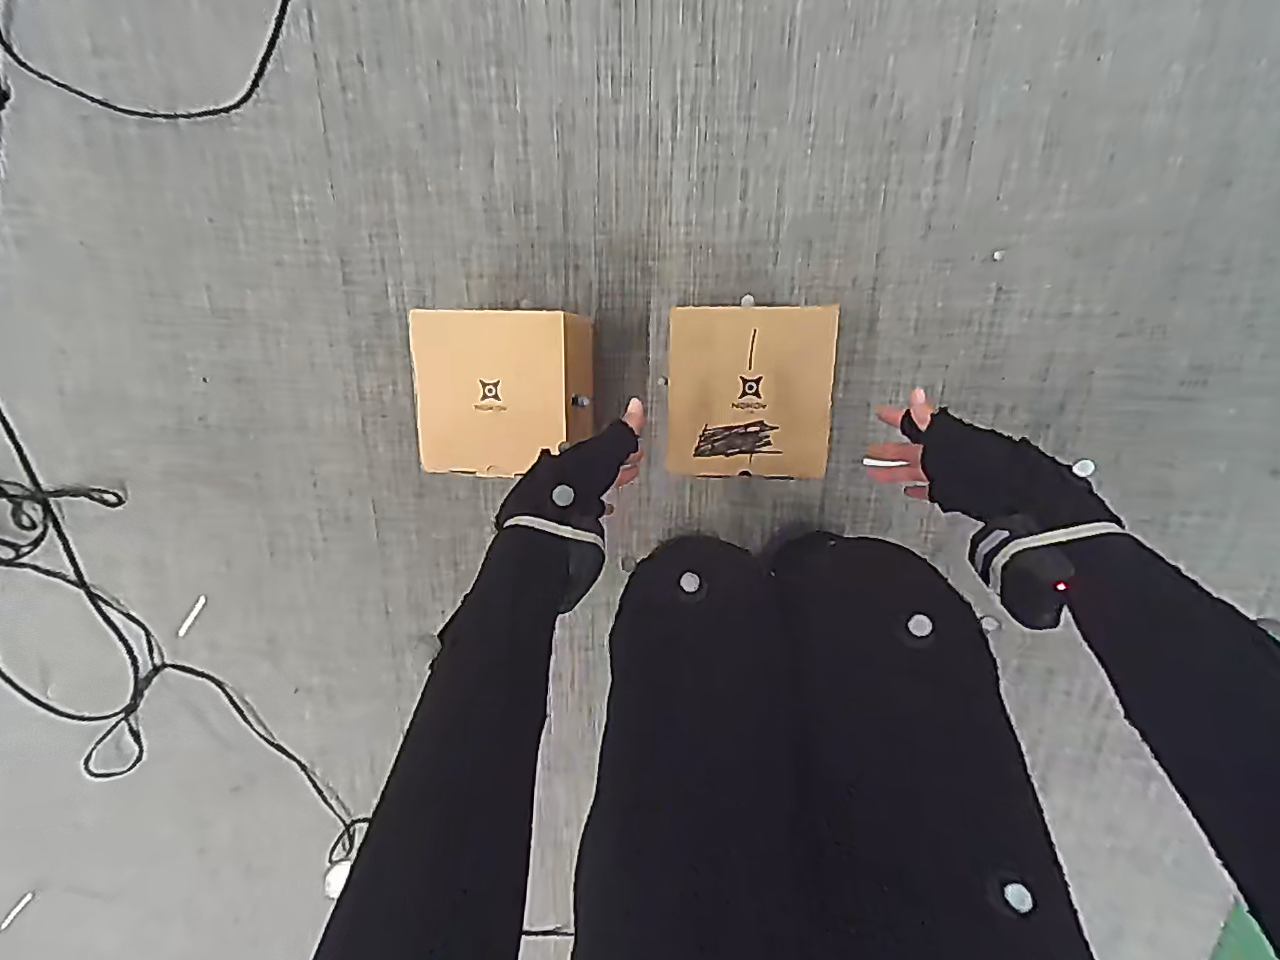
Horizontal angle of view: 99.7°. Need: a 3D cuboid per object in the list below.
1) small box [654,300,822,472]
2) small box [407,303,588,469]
[{"bbox_3d":[0.106,-0.115,0.635,0.168,0.176,0.179,1,105,5],"label":"small box"},{"bbox_3d":[-0.159,-0.119,0.661,0.168,0.176,0.179,2,106,5],"label":"small box"}]
